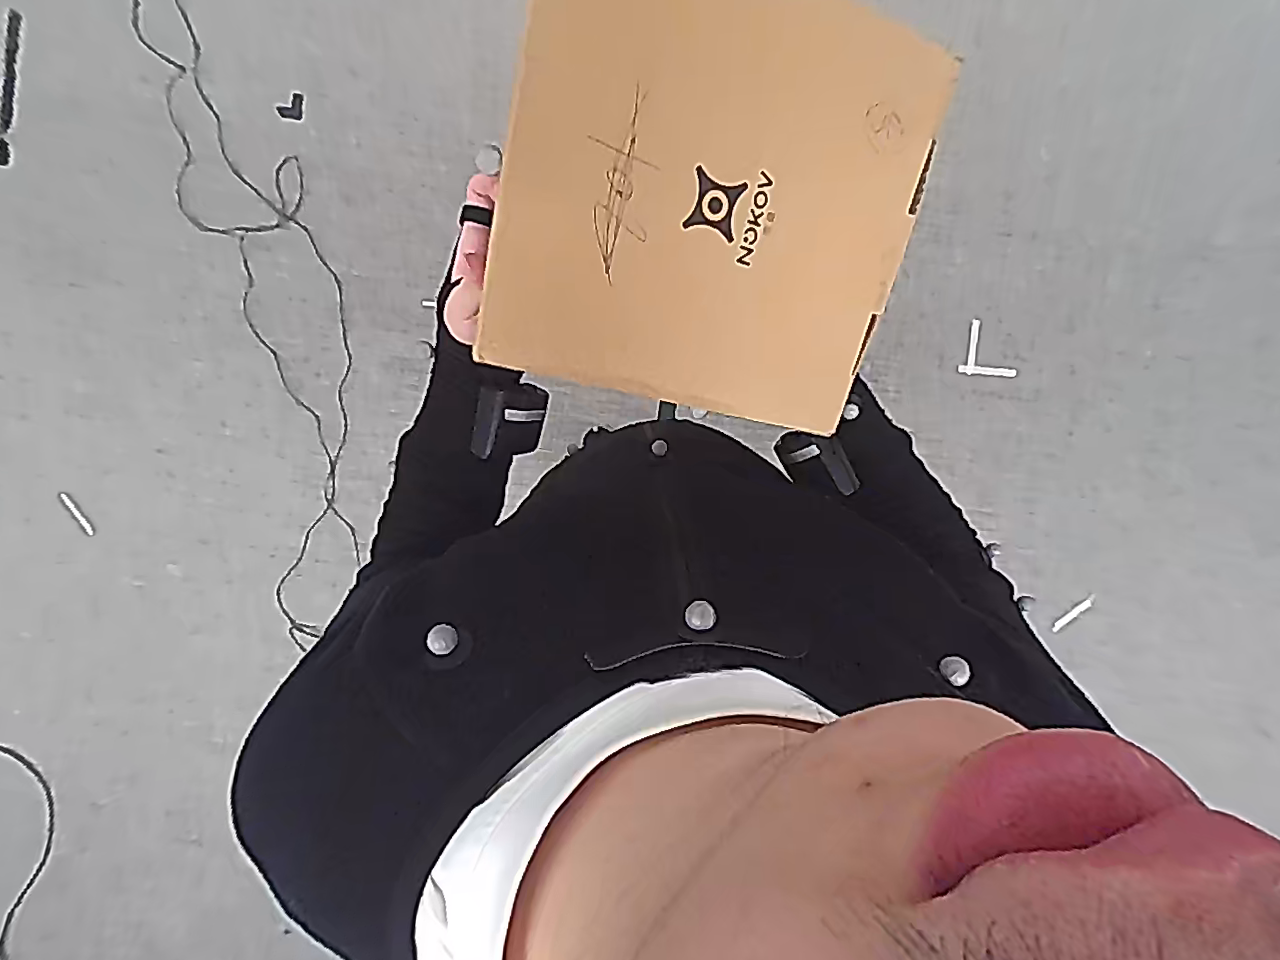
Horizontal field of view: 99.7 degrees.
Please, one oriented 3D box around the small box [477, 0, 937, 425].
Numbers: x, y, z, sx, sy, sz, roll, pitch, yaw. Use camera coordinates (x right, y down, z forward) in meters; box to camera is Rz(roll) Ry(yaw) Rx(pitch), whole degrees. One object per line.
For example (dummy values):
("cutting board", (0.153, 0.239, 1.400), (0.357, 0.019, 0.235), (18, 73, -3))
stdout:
("small box", (0.012, -0.141, 0.305), (0.179, 0.176, 0.168), (9, 106, -16))
